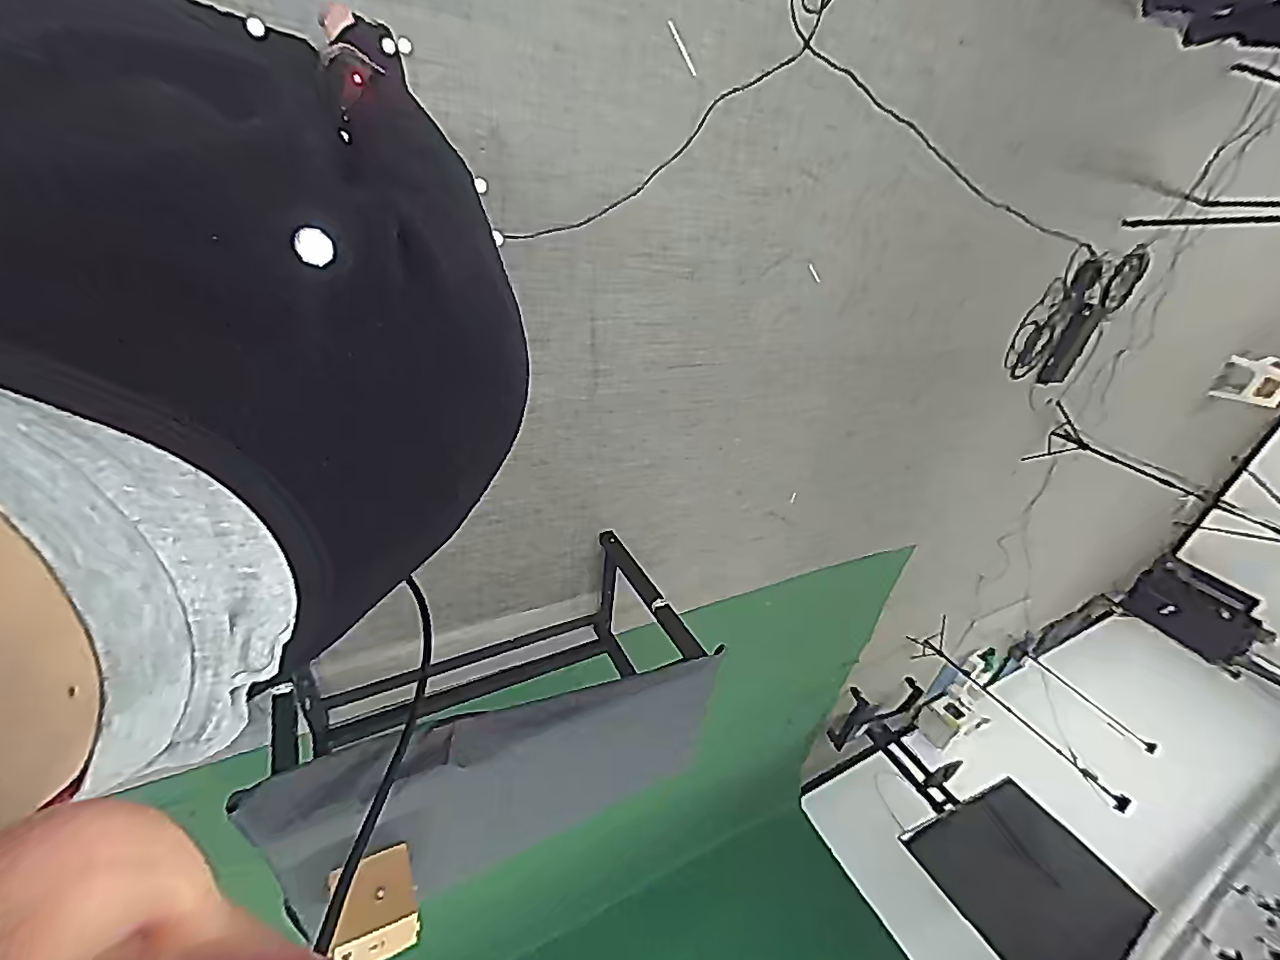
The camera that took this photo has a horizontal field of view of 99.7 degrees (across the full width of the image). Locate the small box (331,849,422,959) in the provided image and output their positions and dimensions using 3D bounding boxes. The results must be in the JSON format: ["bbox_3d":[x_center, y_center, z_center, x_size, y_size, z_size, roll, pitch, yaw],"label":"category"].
[{"bbox_3d":[-0.642,1.051,1.316,0.179,0.176,0.168,-6,123,-32],"label":"small box"}]
